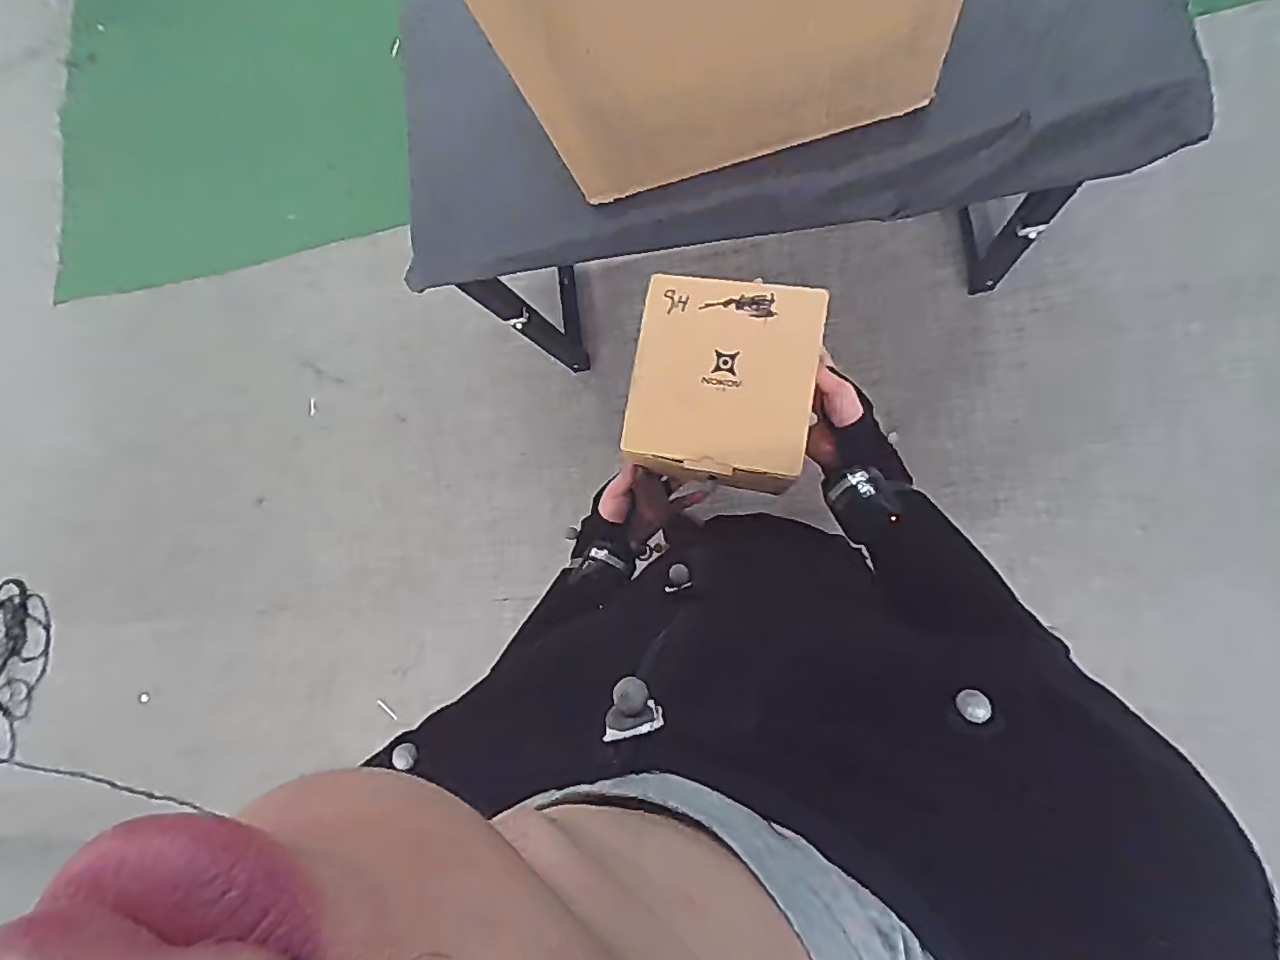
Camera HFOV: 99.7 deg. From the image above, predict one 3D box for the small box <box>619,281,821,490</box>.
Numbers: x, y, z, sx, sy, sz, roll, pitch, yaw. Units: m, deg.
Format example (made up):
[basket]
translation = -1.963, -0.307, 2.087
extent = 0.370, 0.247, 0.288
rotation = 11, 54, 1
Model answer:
[small box]
translation = 0.086, -0.087, 0.574
extent = 0.168, 0.176, 0.179
rotation = 8, 86, 11
